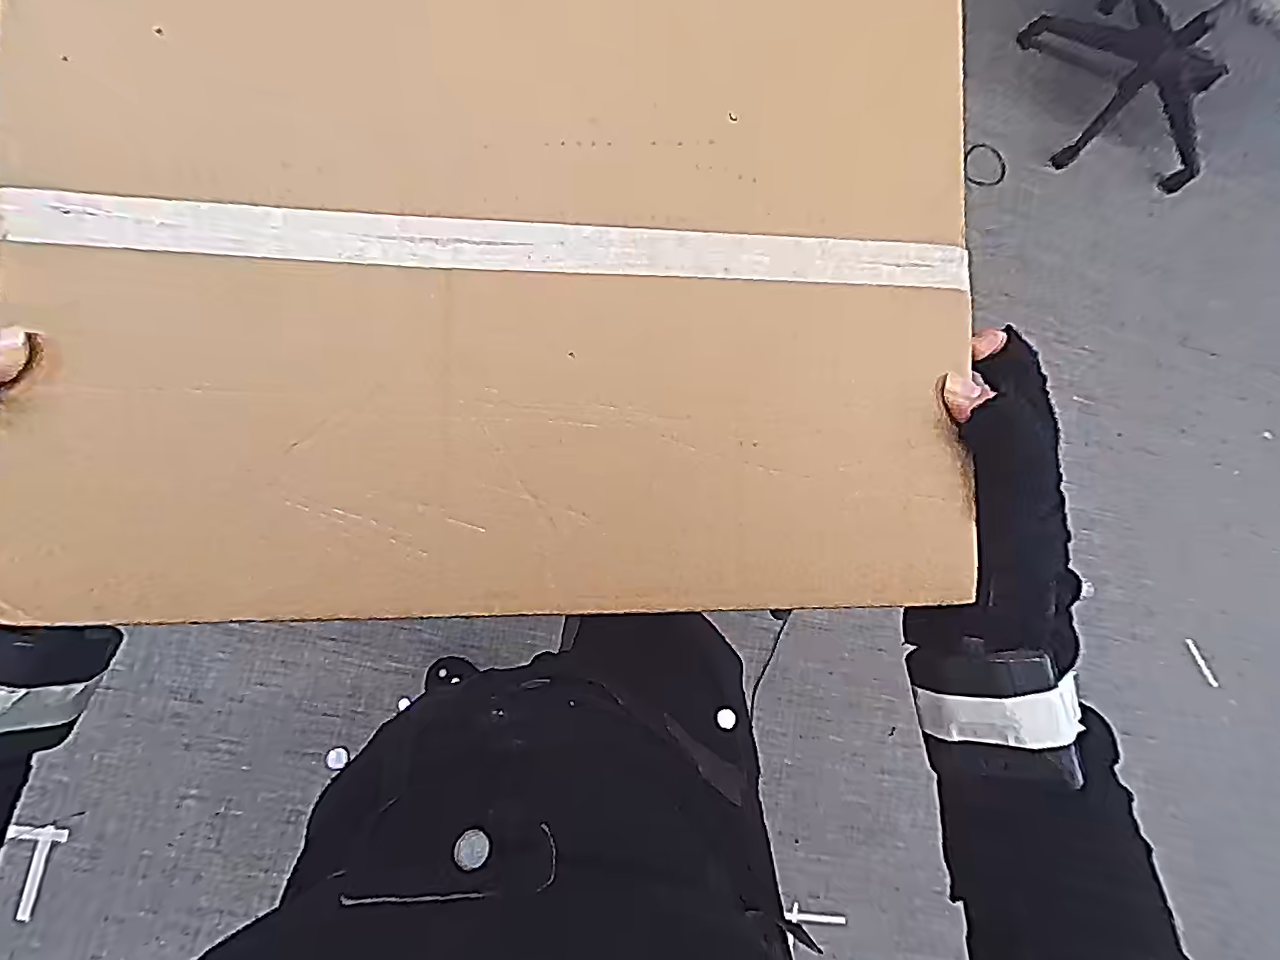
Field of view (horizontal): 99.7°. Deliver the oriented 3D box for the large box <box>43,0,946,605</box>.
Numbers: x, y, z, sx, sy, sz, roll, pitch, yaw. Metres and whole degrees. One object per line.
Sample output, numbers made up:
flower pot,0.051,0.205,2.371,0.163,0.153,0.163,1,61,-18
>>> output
large box,-0.061,-0.098,0.396,0.408,0.320,0.320,1,87,-7
